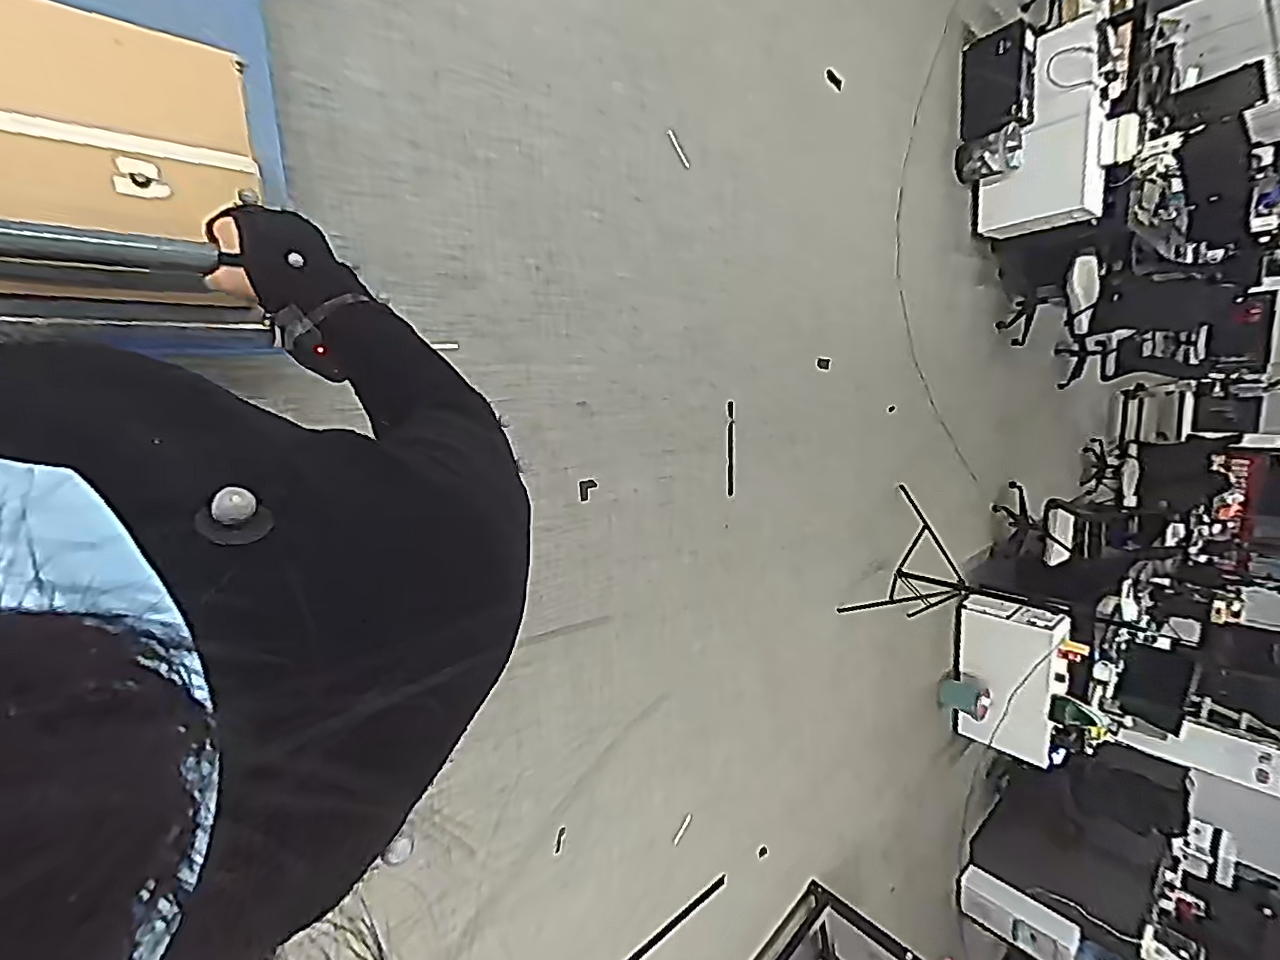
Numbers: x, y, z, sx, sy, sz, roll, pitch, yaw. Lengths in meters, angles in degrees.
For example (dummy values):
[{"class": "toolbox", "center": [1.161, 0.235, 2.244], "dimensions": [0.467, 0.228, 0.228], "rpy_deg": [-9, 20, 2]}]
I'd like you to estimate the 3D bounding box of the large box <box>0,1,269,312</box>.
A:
[{"class": "large box", "center": [-0.830, -0.438, 0.799], "dimensions": [0.408, 0.320, 0.320], "rpy_deg": [-10, 102, -40]}]
